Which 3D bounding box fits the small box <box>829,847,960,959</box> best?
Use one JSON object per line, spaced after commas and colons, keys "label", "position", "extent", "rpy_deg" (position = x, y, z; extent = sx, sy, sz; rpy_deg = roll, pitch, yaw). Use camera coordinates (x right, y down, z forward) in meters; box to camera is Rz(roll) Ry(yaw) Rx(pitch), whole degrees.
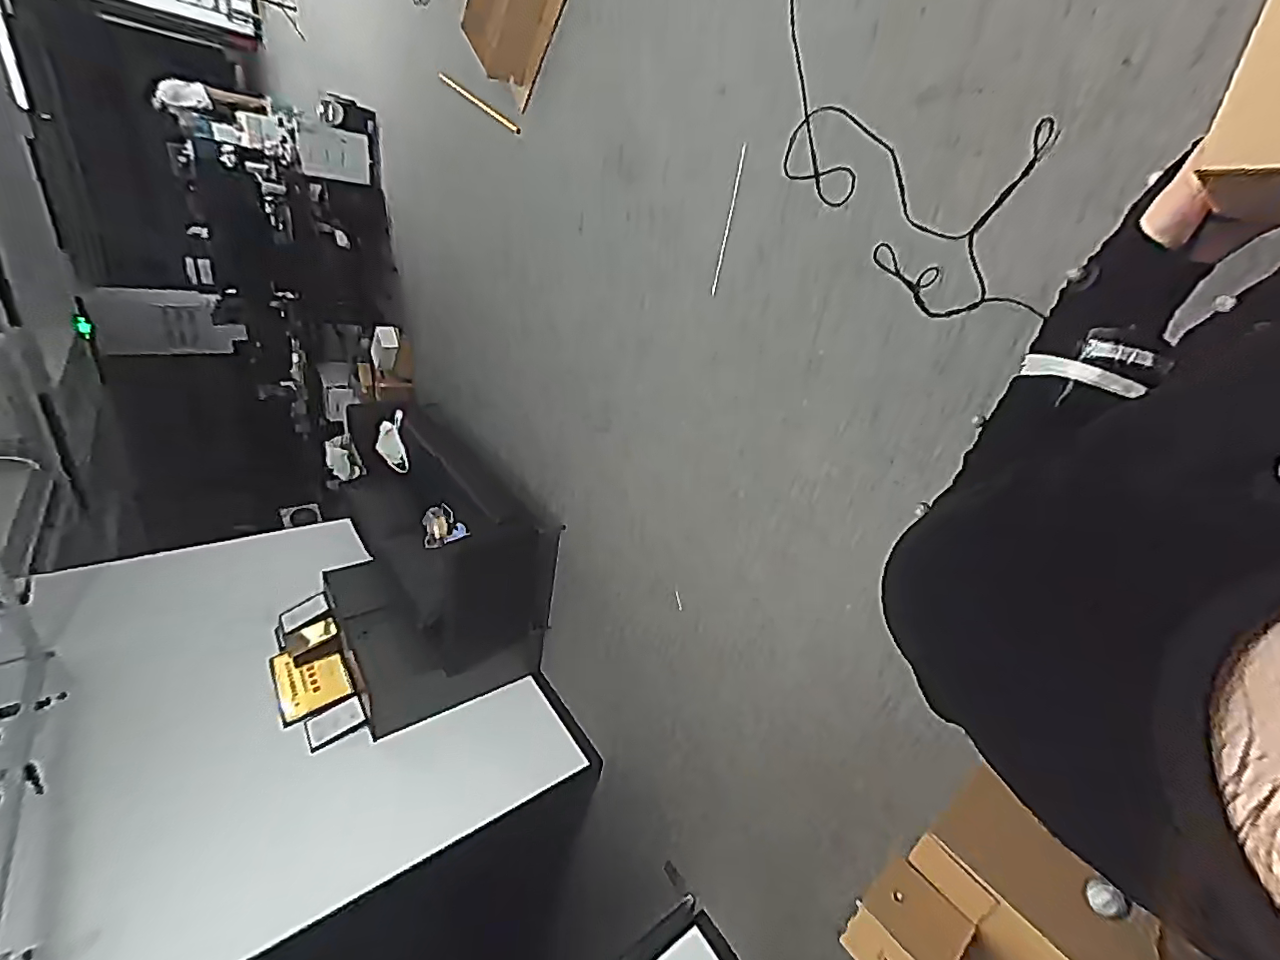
{"label": "small box", "position": [0.558, 0.957, 1.190], "extent": [0.179, 0.176, 0.168], "rpy_deg": [35, 128, 39]}

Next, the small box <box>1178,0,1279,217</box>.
{"label": "small box", "position": [0.402, -0.215, 0.240], "extent": [0.179, 0.176, 0.168], "rpy_deg": [30, 121, 42]}
